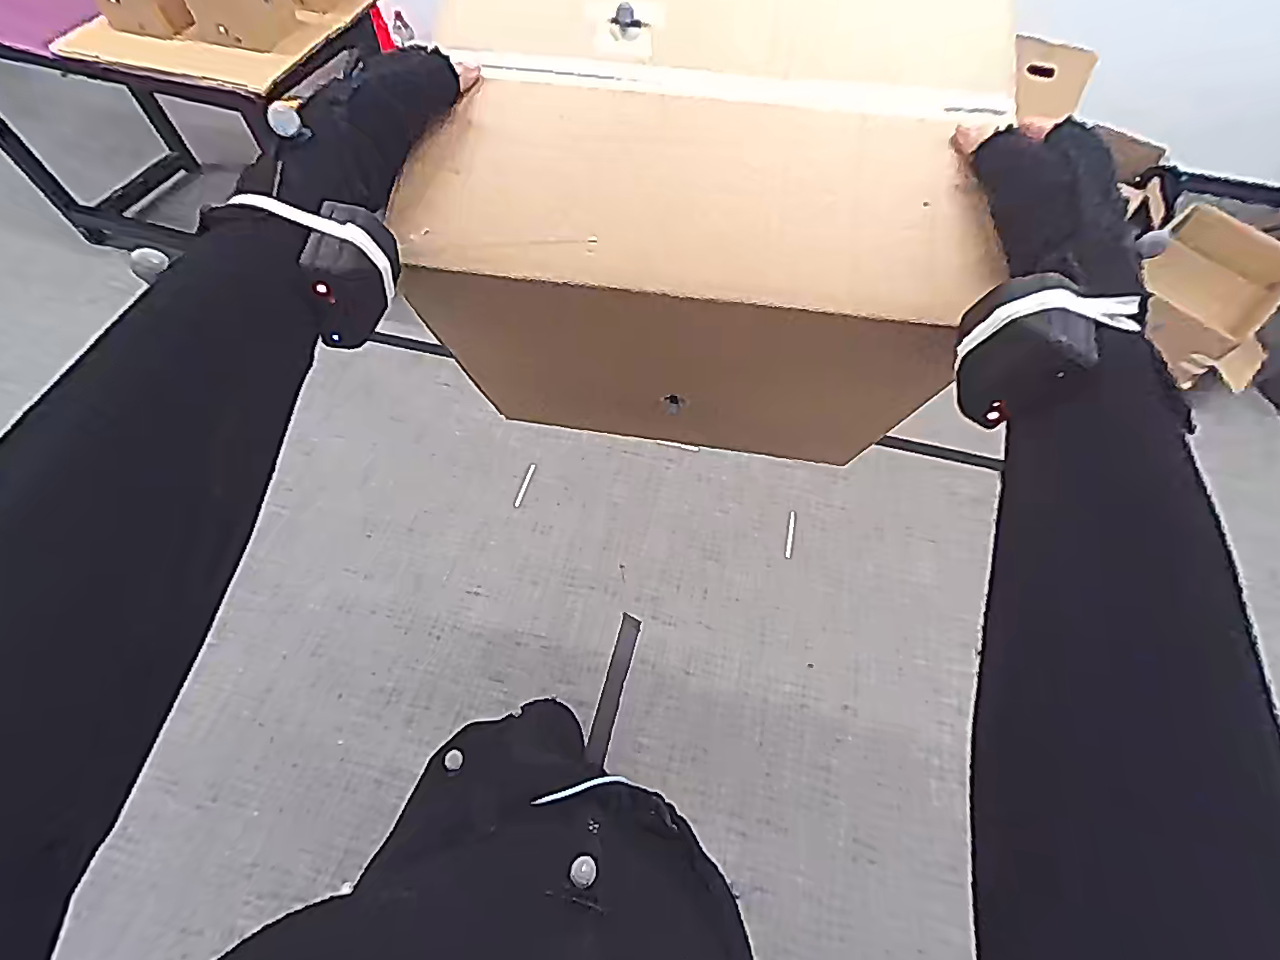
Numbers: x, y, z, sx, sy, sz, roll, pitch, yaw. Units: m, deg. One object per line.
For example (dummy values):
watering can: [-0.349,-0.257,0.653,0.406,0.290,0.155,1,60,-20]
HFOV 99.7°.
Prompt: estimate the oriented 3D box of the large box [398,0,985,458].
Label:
large box: [0.054,-0.226,0.540,0.408,0.320,0.320,8,76,5]
